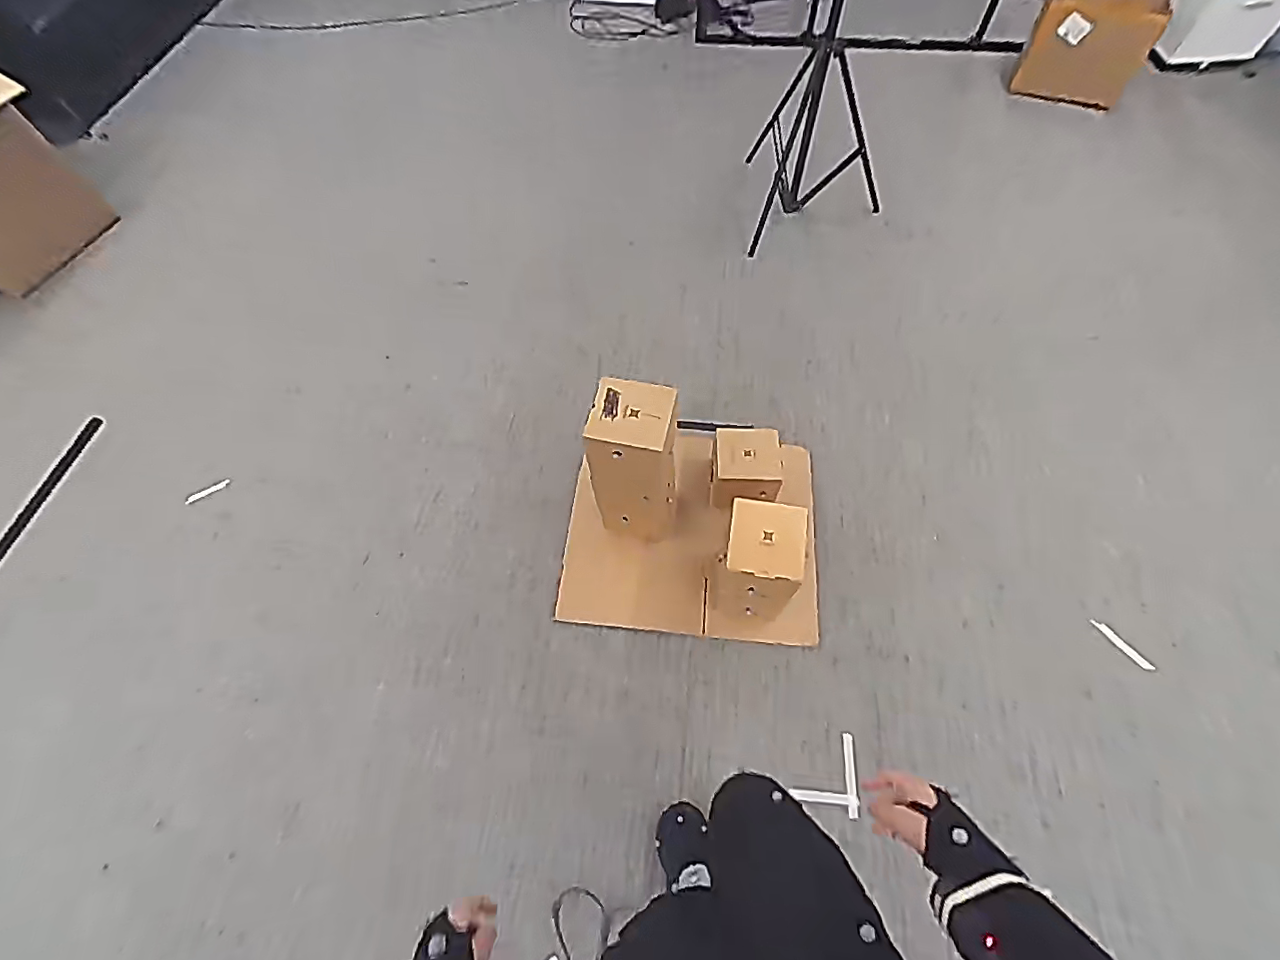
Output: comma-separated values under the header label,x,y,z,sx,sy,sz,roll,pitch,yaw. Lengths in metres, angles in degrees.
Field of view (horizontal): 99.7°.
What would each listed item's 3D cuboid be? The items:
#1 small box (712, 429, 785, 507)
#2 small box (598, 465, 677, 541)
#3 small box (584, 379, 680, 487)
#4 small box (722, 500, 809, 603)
label,x,y,z,sx,sy,sz,roll,pitch,yaw
small box,0.303,-0.028,1.540,0.179,0.176,0.168,1,61,2
small box,-0.001,0.053,1.507,0.179,0.176,0.168,12,63,10
small box,-0.013,-0.100,1.216,0.179,0.176,0.168,11,63,8
small box,0.285,0.168,1.249,0.168,0.176,0.179,8,64,7
